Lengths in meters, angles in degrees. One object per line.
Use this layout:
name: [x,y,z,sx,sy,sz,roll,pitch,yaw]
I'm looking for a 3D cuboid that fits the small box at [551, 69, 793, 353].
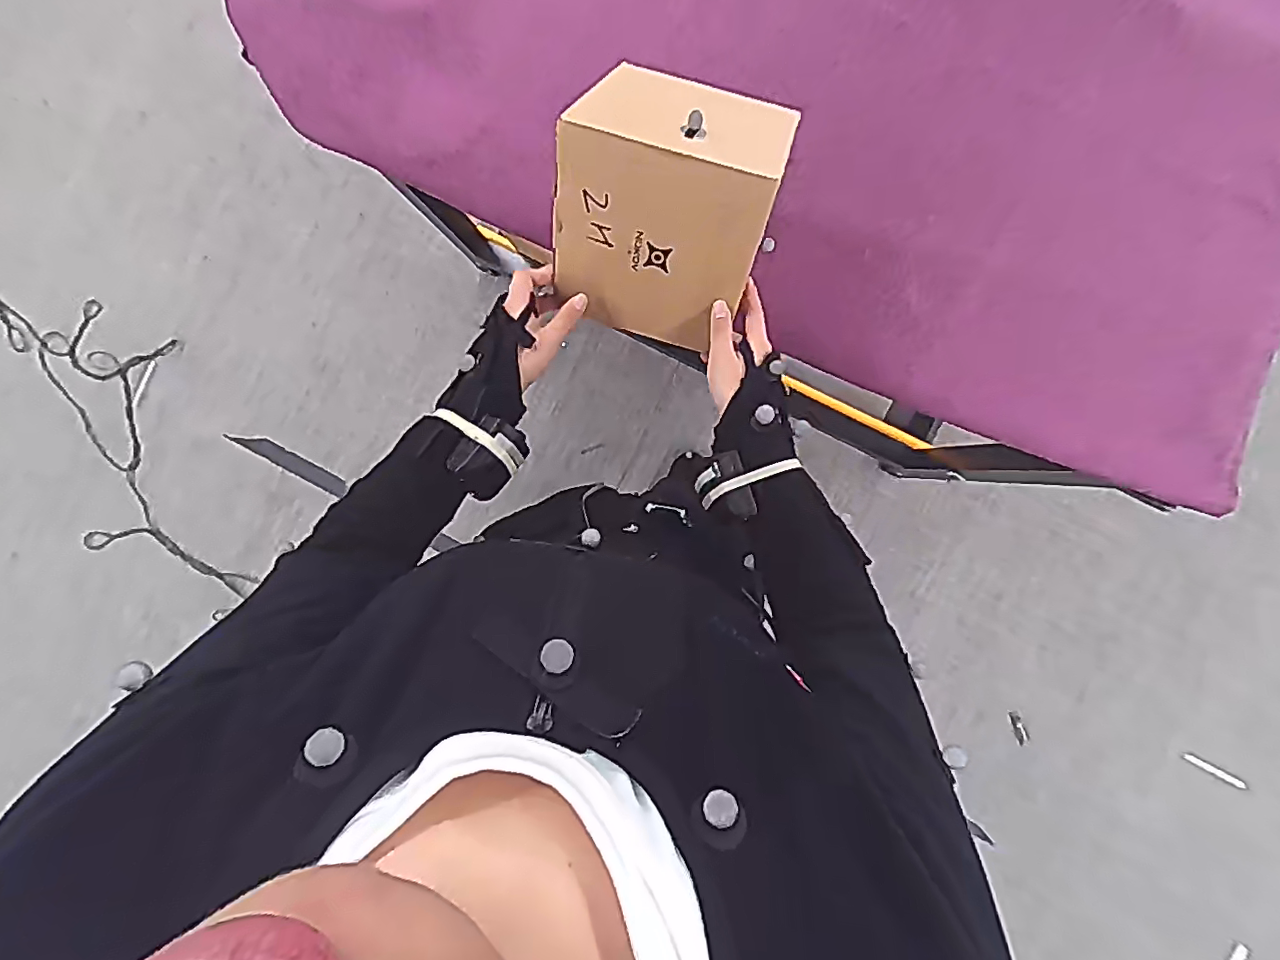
small box: [0.031,-0.253,0.507,0.179,0.168,0.176,18,50,3]
